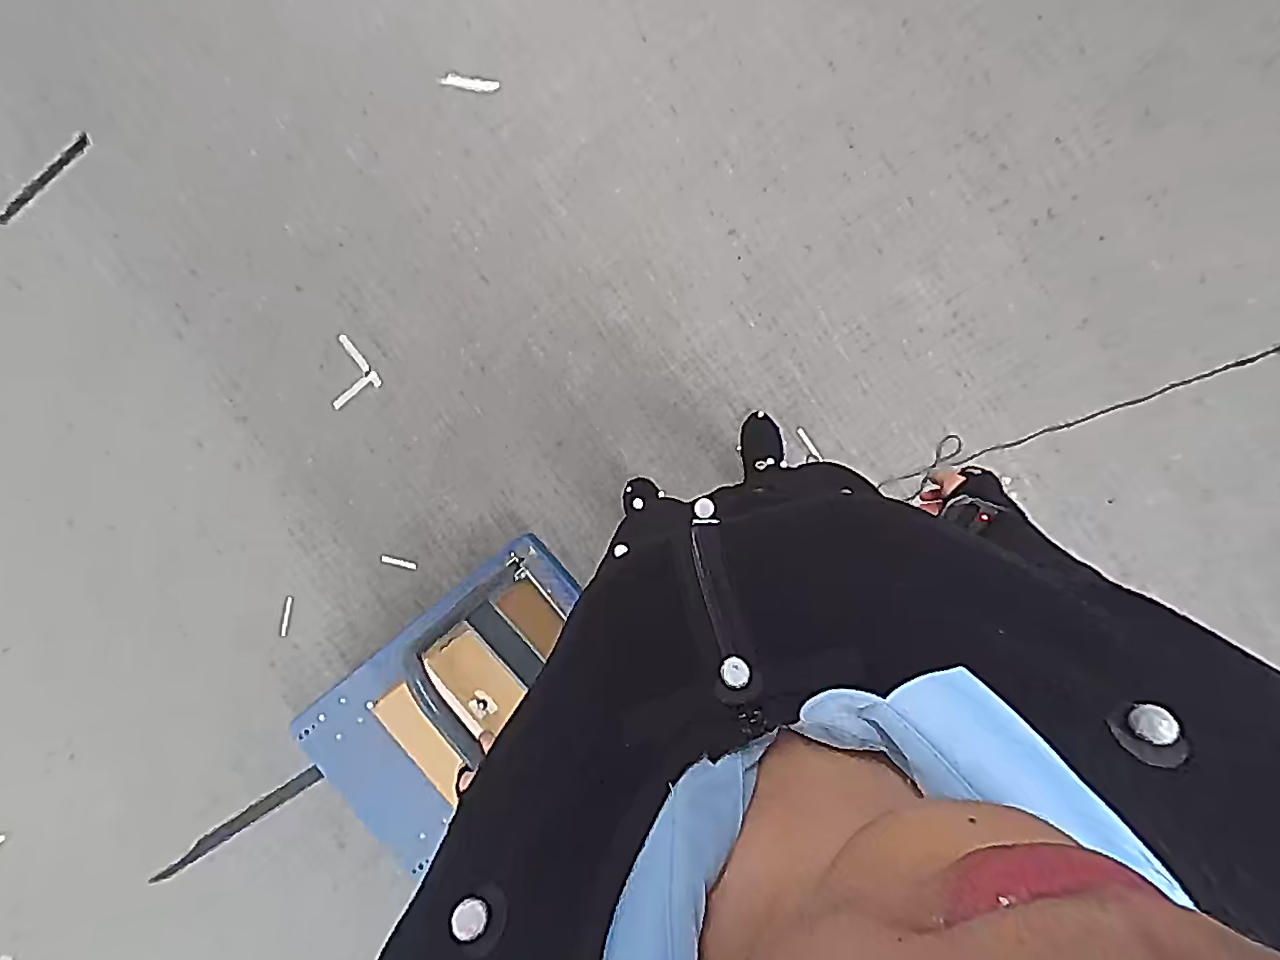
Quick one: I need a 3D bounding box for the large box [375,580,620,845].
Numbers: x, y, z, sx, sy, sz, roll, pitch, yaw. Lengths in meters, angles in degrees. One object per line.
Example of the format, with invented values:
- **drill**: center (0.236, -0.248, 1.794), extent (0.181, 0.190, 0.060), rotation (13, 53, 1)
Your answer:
- **large box**: center (-0.299, 0.510, 1.255), extent (0.320, 0.320, 0.408), rotation (-39, 91, 6)
